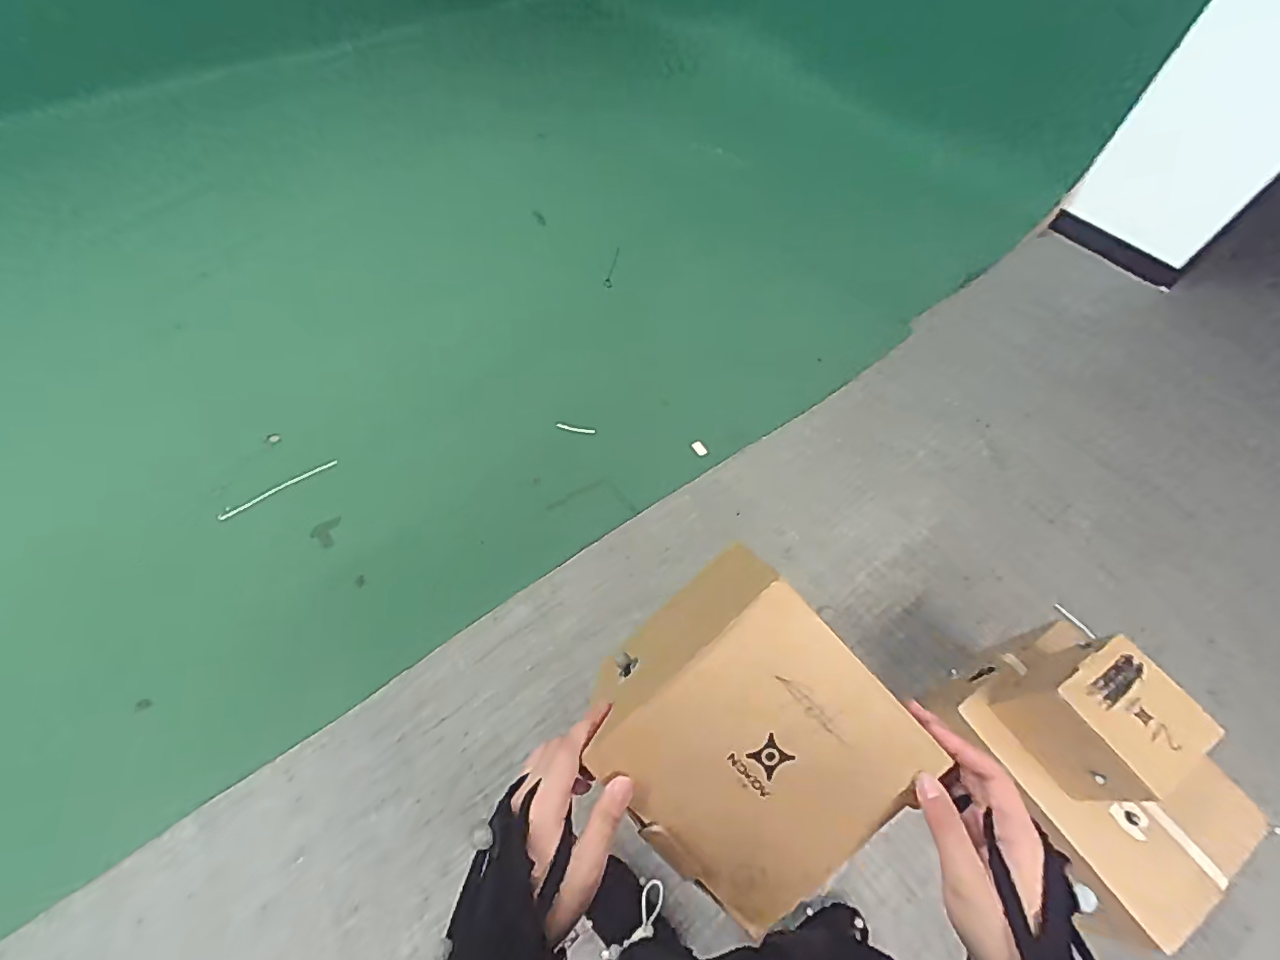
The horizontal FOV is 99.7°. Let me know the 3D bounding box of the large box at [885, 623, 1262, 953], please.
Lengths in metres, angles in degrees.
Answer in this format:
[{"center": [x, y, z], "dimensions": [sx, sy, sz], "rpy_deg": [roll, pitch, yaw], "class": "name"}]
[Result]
[{"center": [0.779, 0.559, 1.045], "dimensions": [0.320, 0.320, 0.408], "rpy_deg": [-28, 65, -17], "class": "large box"}]
